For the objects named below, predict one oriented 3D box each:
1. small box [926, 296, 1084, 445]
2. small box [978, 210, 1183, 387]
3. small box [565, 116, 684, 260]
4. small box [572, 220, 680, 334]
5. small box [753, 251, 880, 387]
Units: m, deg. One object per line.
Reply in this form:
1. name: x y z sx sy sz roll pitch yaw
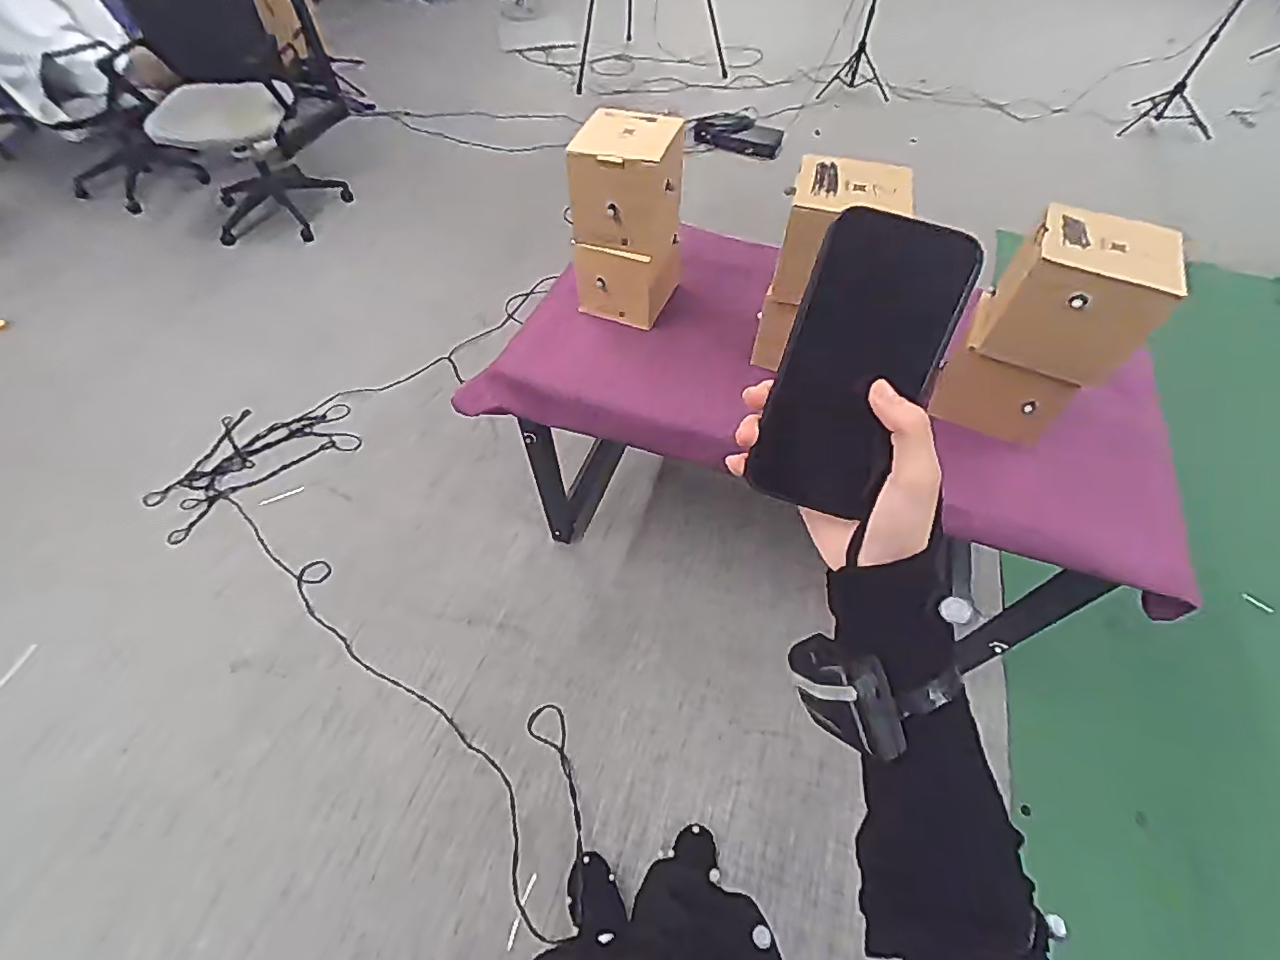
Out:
1. small box: 0.640 -0.186 0.950 0.179 0.176 0.168 23 58 17
2. small box: 0.641 -0.266 0.806 0.179 0.176 0.168 24 58 16
3. small box: -0.022 -0.536 1.002 0.168 0.176 0.179 15 57 10
4. small box: -0.023 -0.435 1.132 0.168 0.176 0.179 19 57 13
5. small box: 0.331 -0.301 1.032 0.179 0.176 0.168 18 57 13
